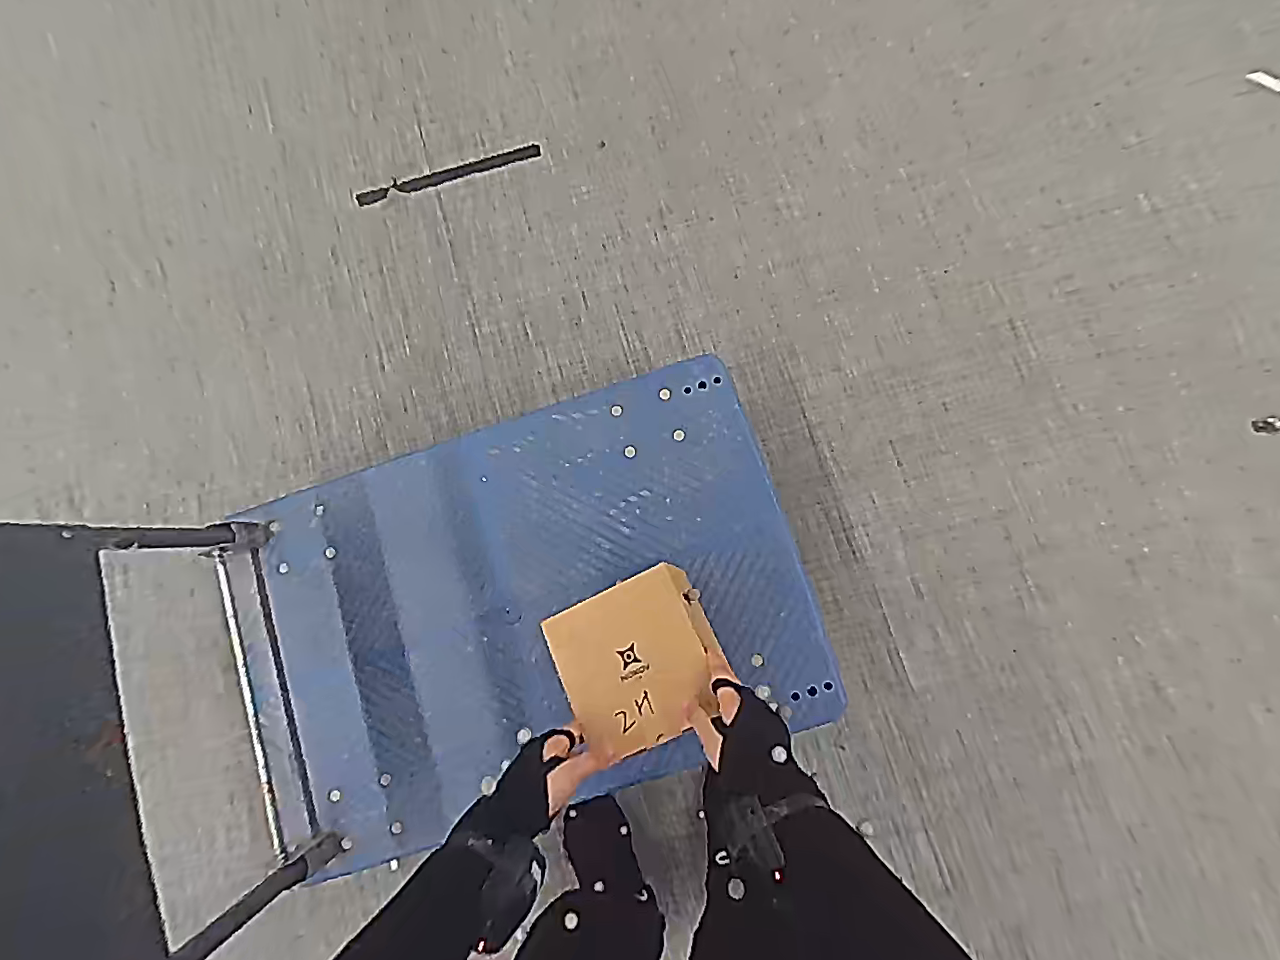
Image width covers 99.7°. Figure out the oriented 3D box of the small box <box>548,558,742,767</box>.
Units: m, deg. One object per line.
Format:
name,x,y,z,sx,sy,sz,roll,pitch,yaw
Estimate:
small box,0.014,0.218,0.671,0.168,0.176,0.179,-28,72,5
